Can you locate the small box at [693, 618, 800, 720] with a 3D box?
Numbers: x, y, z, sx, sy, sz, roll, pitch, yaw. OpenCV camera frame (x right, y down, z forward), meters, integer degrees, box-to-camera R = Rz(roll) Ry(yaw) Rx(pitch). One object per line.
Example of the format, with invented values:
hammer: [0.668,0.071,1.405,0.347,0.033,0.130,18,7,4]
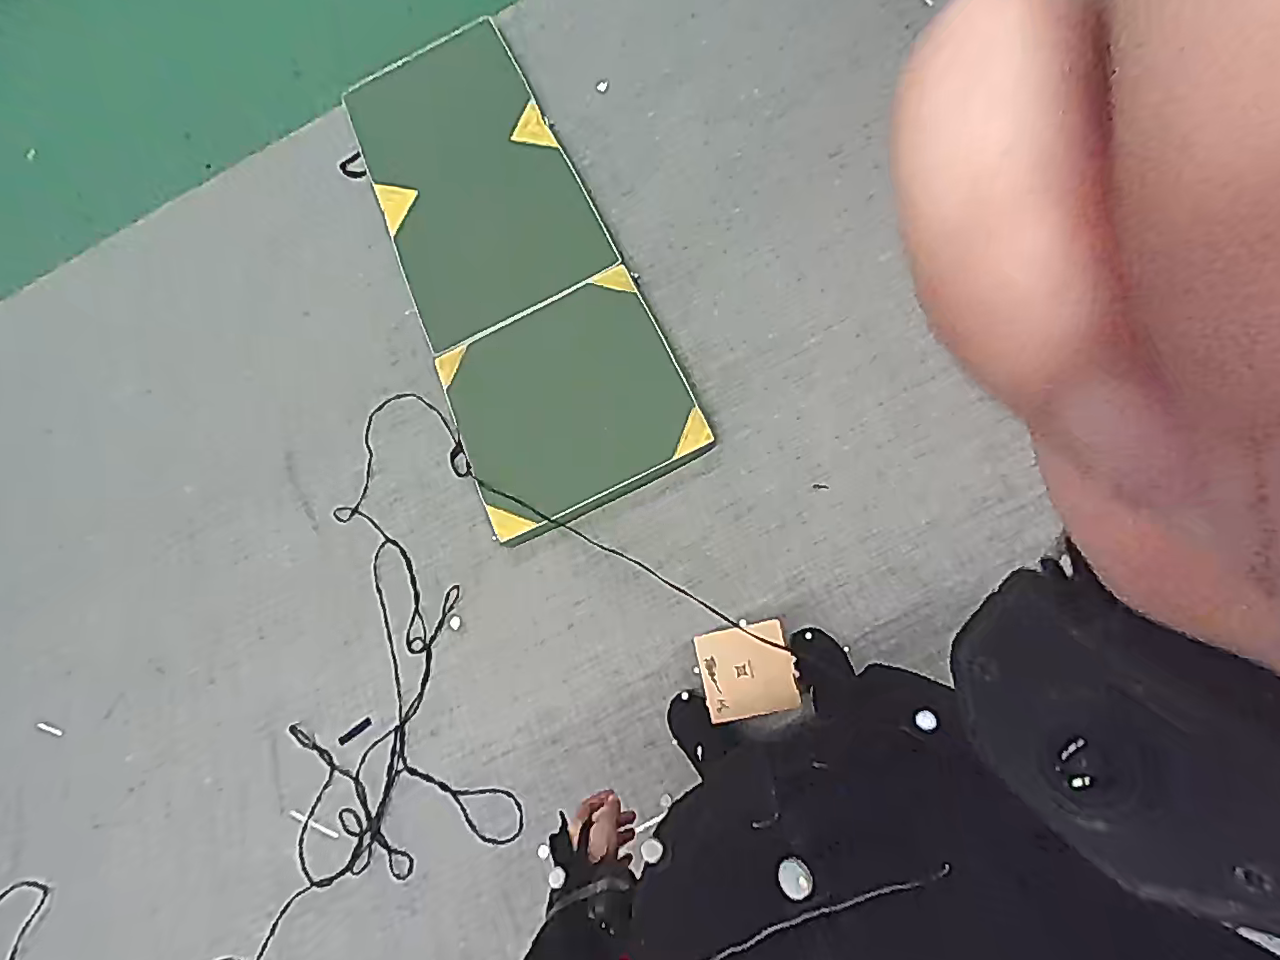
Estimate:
small box: [0.216,0.385,1.121,0.179,0.176,0.168,-14,72,6]
